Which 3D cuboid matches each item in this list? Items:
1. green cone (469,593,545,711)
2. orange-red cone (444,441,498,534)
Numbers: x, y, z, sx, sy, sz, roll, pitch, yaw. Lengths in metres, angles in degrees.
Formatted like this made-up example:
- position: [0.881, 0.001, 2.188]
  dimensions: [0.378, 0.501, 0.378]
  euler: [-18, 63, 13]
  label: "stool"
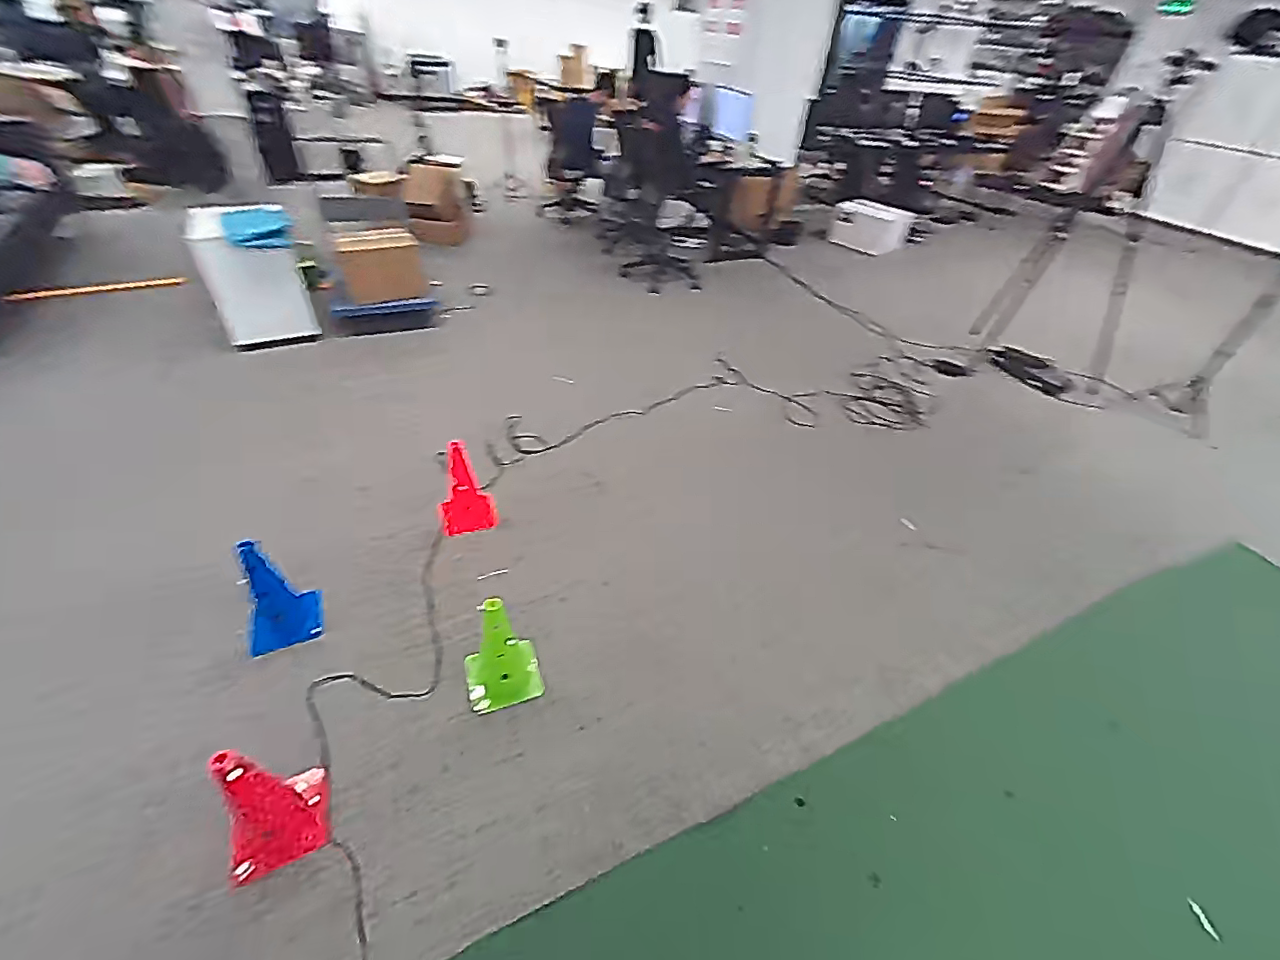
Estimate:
- position: [-0.391, 0.455, 1.531]
  dimensions: [0.200, 0.368, 0.202]
  euler: [-12, 42, -20]
  label: "green cone"
- position: [-0.664, 0.005, 2.040]
  dimensions: [0.198, 0.360, 0.199]
  euler: [-11, 44, -18]
  label: "orange-red cone"
